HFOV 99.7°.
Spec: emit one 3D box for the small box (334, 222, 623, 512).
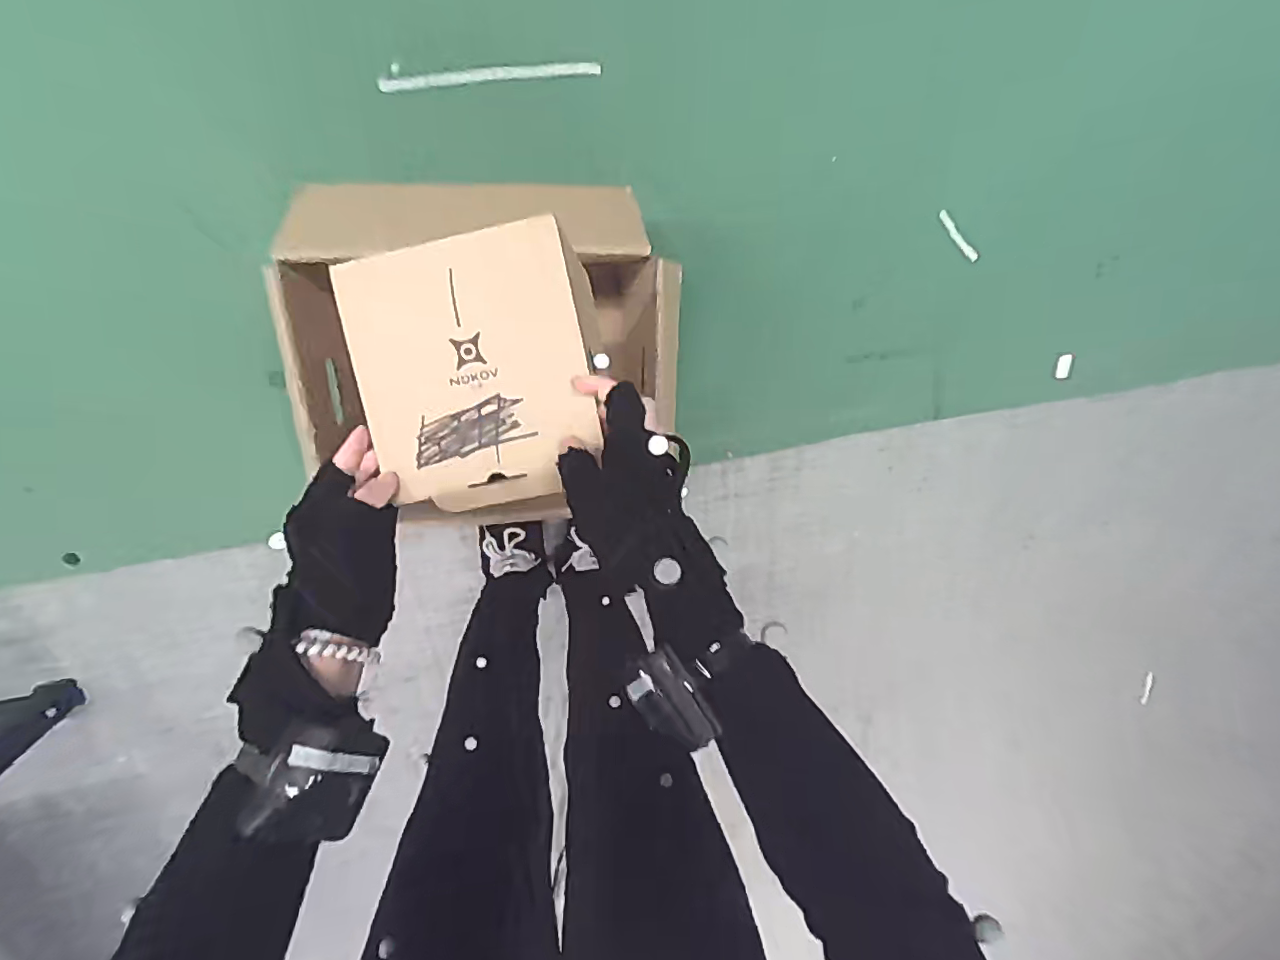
[{"bbox_3d":[-0.112,-0.083,0.454,0.168,0.176,0.179,-11,94,3],"label":"small box"}]
